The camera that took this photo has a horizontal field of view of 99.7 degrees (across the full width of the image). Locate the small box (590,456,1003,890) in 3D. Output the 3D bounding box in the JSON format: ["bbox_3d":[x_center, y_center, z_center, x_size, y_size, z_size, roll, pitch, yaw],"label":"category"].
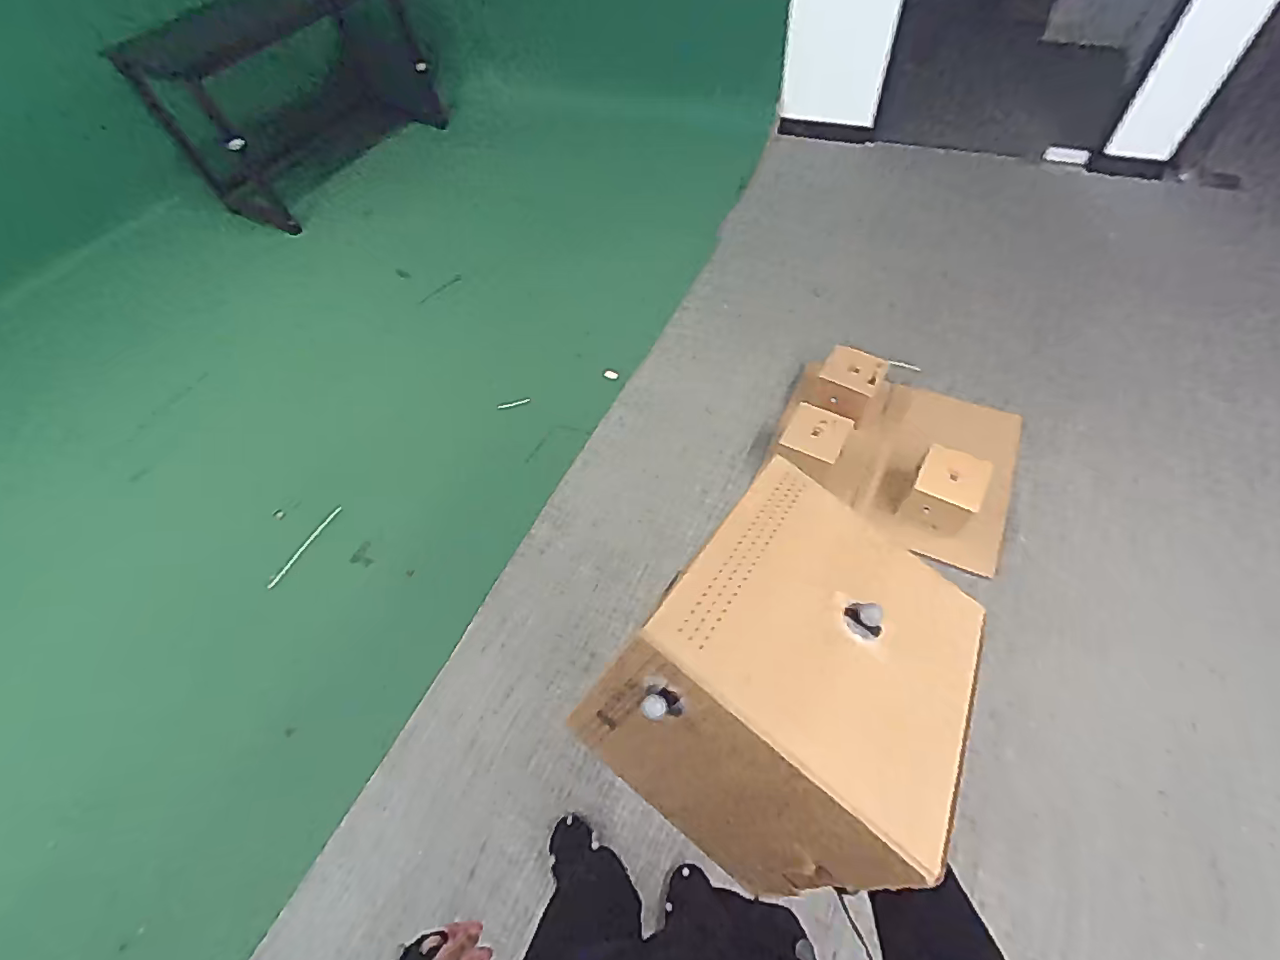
[{"bbox_3d":[0.093,0.119,0.355,0.176,0.168,0.179,39,47,8],"label":"small box"}]

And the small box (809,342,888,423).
[{"bbox_3d":[0.666,-0.311,1.748,0.179,0.176,0.168,26,64,21],"label":"small box"}]

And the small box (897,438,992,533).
[{"bbox_3d":[0.845,0.021,1.516,0.168,0.176,0.179,24,63,20],"label":"small box"}]

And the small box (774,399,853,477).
[{"bbox_3d":[0.517,-0.106,1.635,0.168,0.176,0.179,25,64,20],"label":"small box"}]
